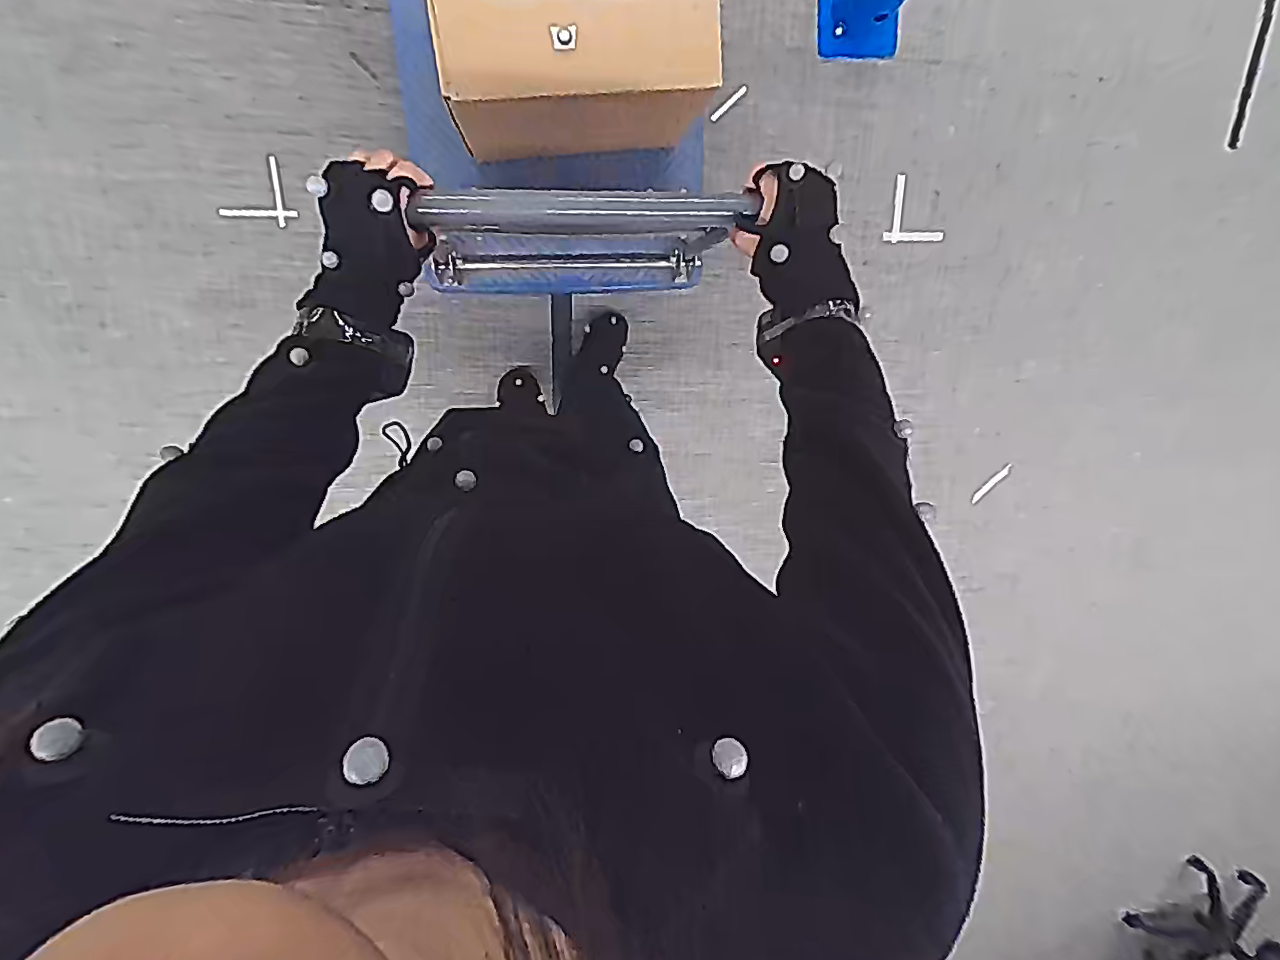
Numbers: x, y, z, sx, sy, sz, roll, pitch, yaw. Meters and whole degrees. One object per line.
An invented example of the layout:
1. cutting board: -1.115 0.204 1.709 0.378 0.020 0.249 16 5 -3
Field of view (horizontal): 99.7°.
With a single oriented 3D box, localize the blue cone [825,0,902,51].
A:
1. blue cone: 0.537 -1.049 1.078 0.193 0.380 0.192 -6 106 -9
